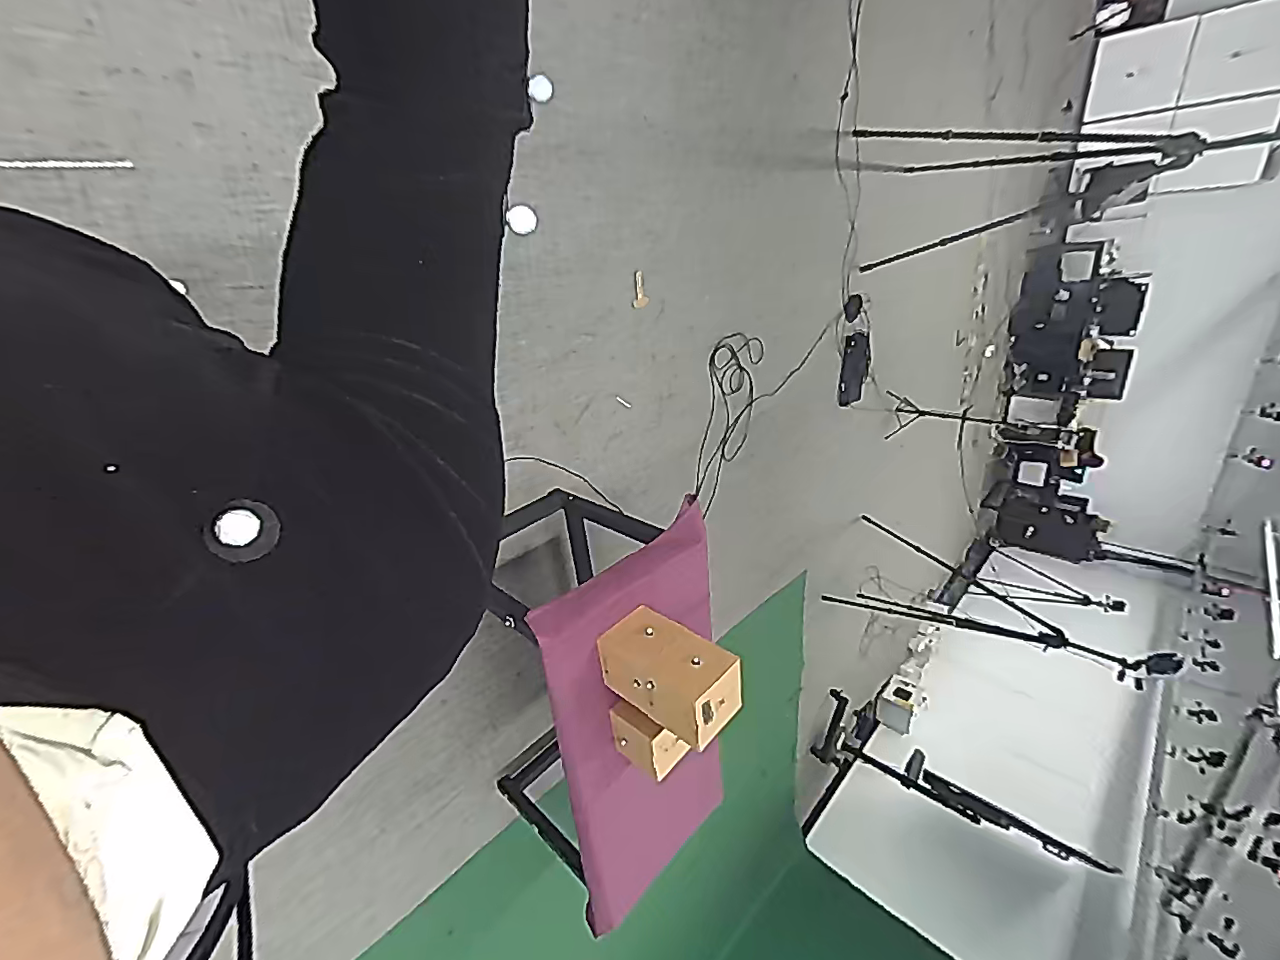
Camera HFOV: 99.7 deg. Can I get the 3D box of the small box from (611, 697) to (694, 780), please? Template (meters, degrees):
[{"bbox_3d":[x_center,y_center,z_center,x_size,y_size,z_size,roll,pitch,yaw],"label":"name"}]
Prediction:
[{"bbox_3d":[0.042,0.697,1.544,0.179,0.176,0.168,-29,122,-38],"label":"small box"}]

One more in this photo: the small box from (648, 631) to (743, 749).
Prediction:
[{"bbox_3d":[0.132,0.507,1.330,0.179,0.176,0.168,-29,123,-39],"label":"small box"}]

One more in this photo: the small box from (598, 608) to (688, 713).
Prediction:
[{"bbox_3d":[0.014,0.469,1.439,0.179,0.176,0.168,-29,123,-39],"label":"small box"}]
